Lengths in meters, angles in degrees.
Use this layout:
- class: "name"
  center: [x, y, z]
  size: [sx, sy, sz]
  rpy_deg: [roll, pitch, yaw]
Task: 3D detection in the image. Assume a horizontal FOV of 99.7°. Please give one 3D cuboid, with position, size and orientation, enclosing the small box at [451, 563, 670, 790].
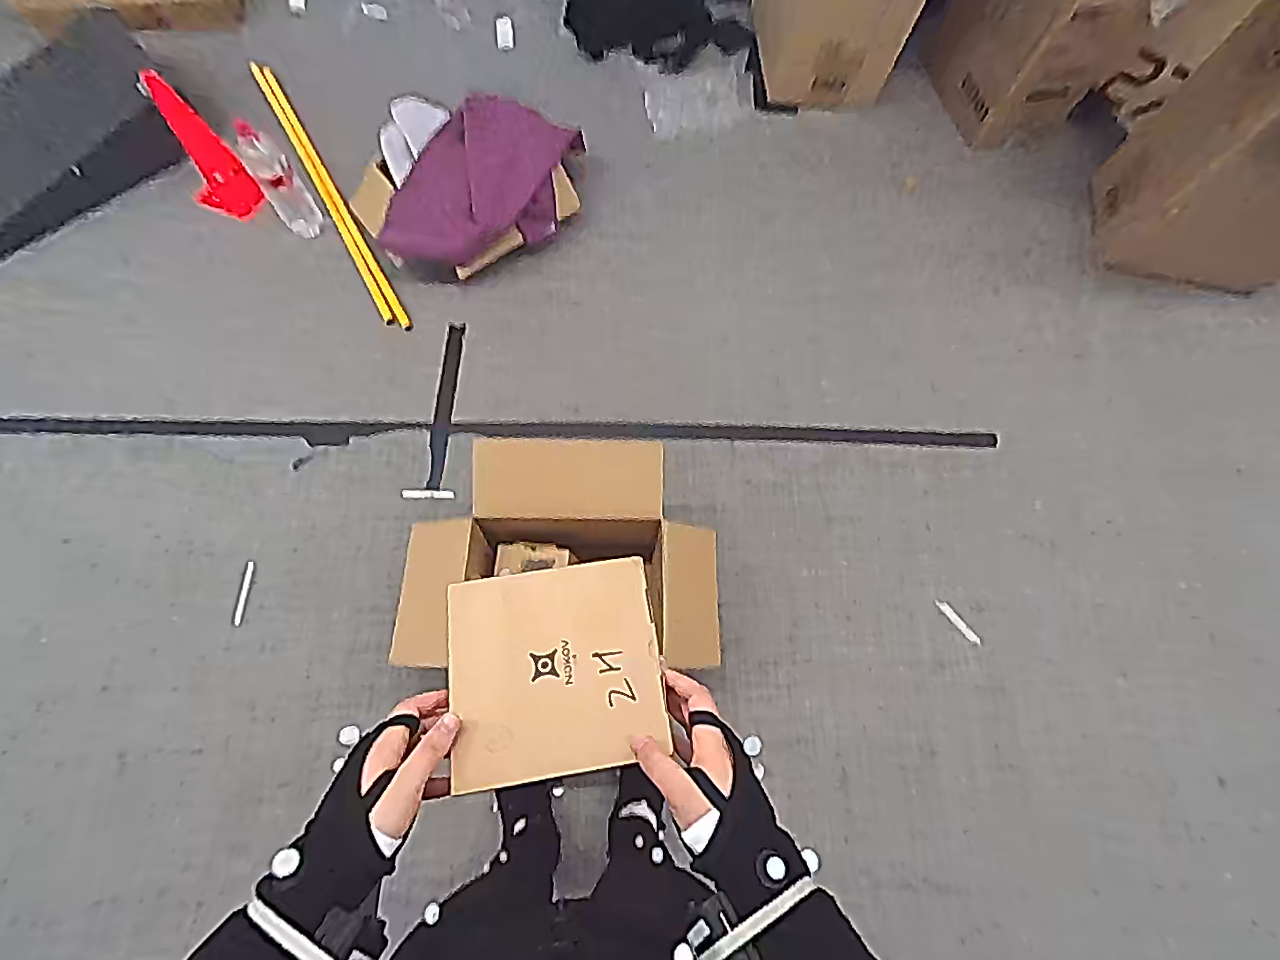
- class: "small box"
  center: [-0.075, 0.194, 0.533]
  size: [0.179, 0.176, 0.168]
  rpy_deg: [-7, 66, -6]
